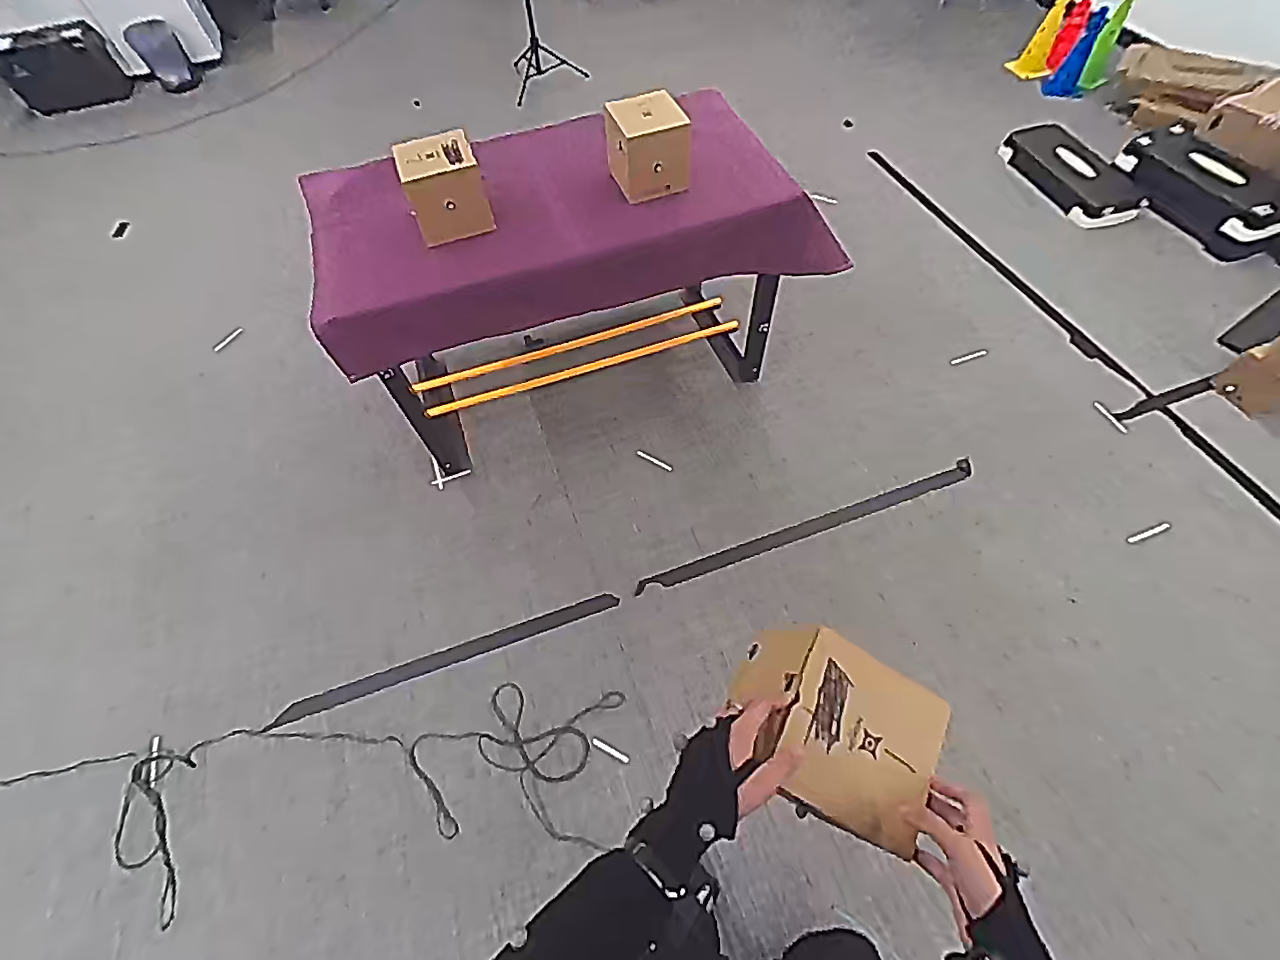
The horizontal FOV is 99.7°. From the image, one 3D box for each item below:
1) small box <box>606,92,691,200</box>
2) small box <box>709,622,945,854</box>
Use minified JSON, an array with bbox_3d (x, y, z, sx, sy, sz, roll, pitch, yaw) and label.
[{"bbox_3d":[0.023,-0.841,1.379,0.168,0.176,0.179,-18,60,-8],"label":"small box"},{"bbox_3d":[0.207,0.288,0.633,0.179,0.176,0.168,32,67,-3],"label":"small box"}]
